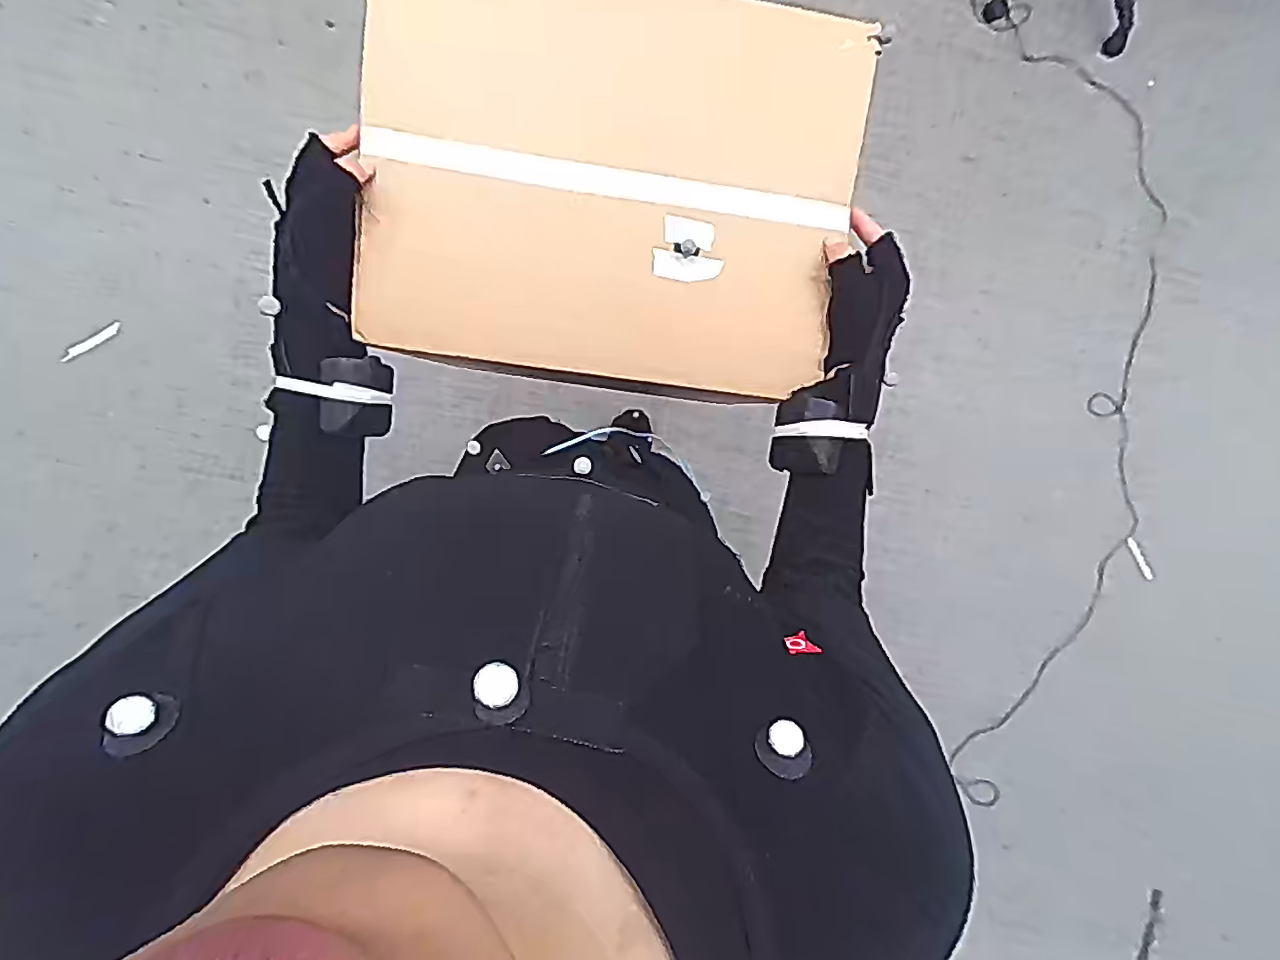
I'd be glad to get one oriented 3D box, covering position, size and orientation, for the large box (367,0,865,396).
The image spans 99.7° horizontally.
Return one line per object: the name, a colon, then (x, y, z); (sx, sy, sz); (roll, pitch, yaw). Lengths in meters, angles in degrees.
large box: (-0.035, -0.271, 0.604); (0.408, 0.320, 0.320); (6, 99, -7)
